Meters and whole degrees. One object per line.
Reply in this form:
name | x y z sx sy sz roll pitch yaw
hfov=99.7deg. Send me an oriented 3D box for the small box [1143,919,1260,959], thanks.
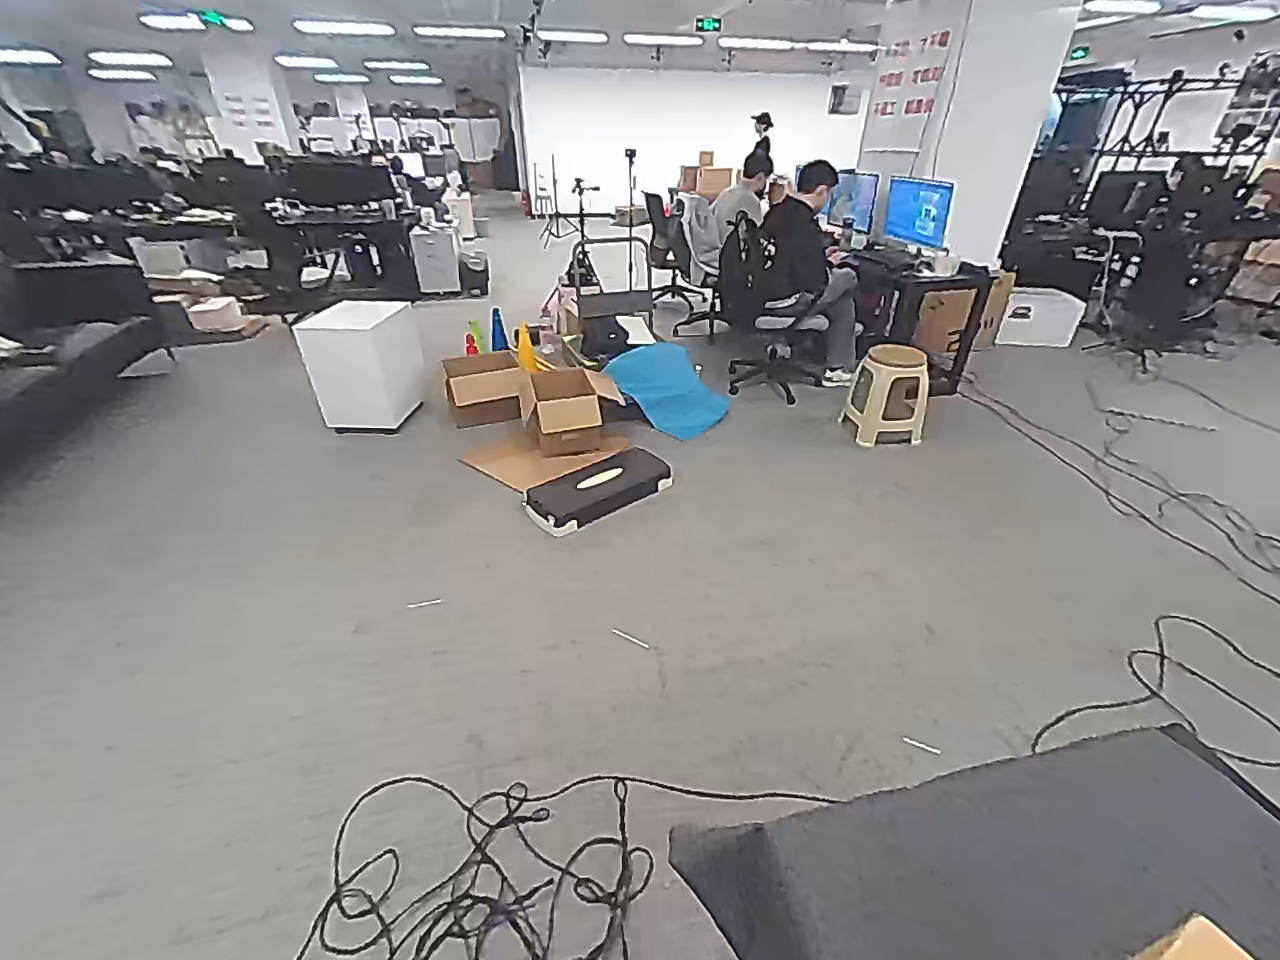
small box | 0.399 0.464 0.369 0.179 0.176 0.168 -16 36 -23
